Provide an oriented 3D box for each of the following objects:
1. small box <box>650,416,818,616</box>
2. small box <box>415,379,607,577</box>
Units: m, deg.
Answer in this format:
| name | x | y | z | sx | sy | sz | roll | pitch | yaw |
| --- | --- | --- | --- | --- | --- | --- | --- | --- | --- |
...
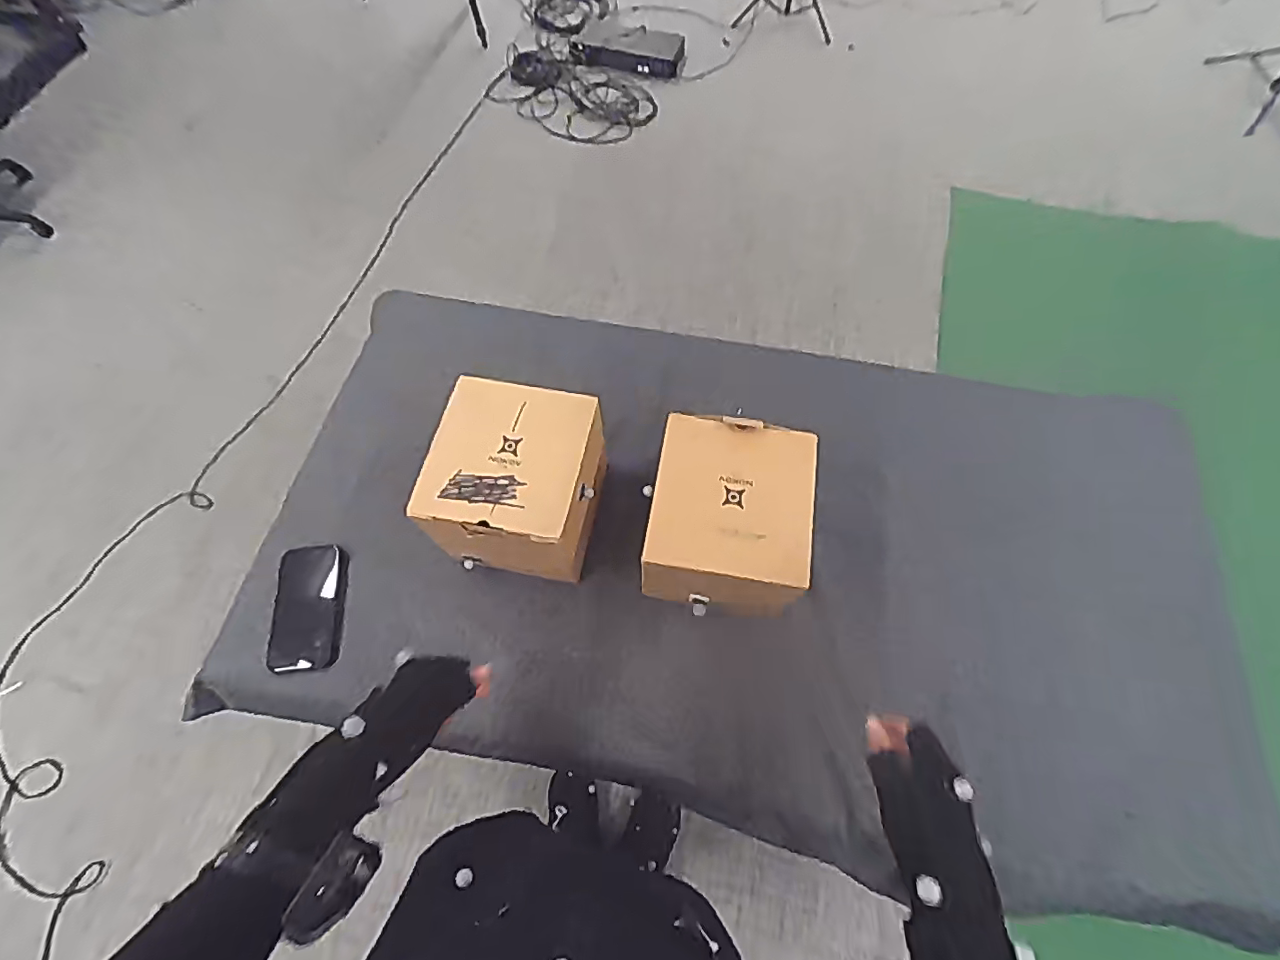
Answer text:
| name | x | y | z | sx | sy | sz | roll | pitch | yaw |
| --- | --- | --- | --- | --- | --- | --- | --- | --- | --- |
| small box | 0.104 | 0.049 | 0.642 | 0.168 | 0.176 | 0.179 | 8 | 67 | 5 |
| small box | -0.137 | 0.006 | 0.658 | 0.168 | 0.176 | 0.179 | 10 | 65 | 4 |
